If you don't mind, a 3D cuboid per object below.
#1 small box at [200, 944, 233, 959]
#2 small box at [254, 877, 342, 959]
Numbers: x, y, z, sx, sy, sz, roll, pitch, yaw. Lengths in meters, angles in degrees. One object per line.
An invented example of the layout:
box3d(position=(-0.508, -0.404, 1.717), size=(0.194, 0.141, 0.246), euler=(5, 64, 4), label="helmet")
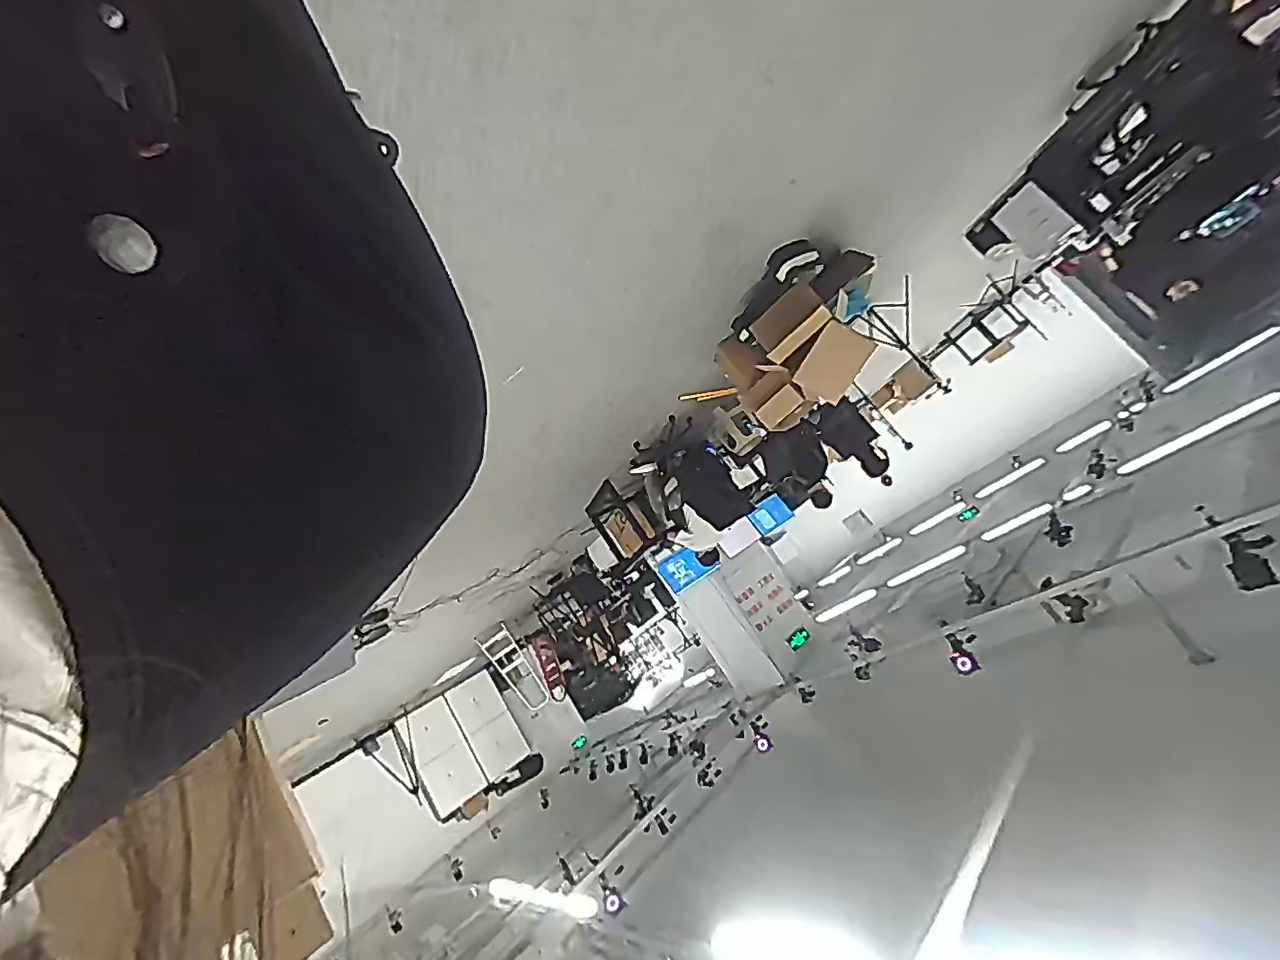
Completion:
box3d(position=(-1.214, 1.426, 1.478), size=(0.168, 0.176, 0.179), euler=(-23, 161, -37), label="small box")
box3d(position=(-1.025, 1.336, 1.619), size=(0.179, 0.176, 0.168), euler=(-25, 160, -33), label="small box")
